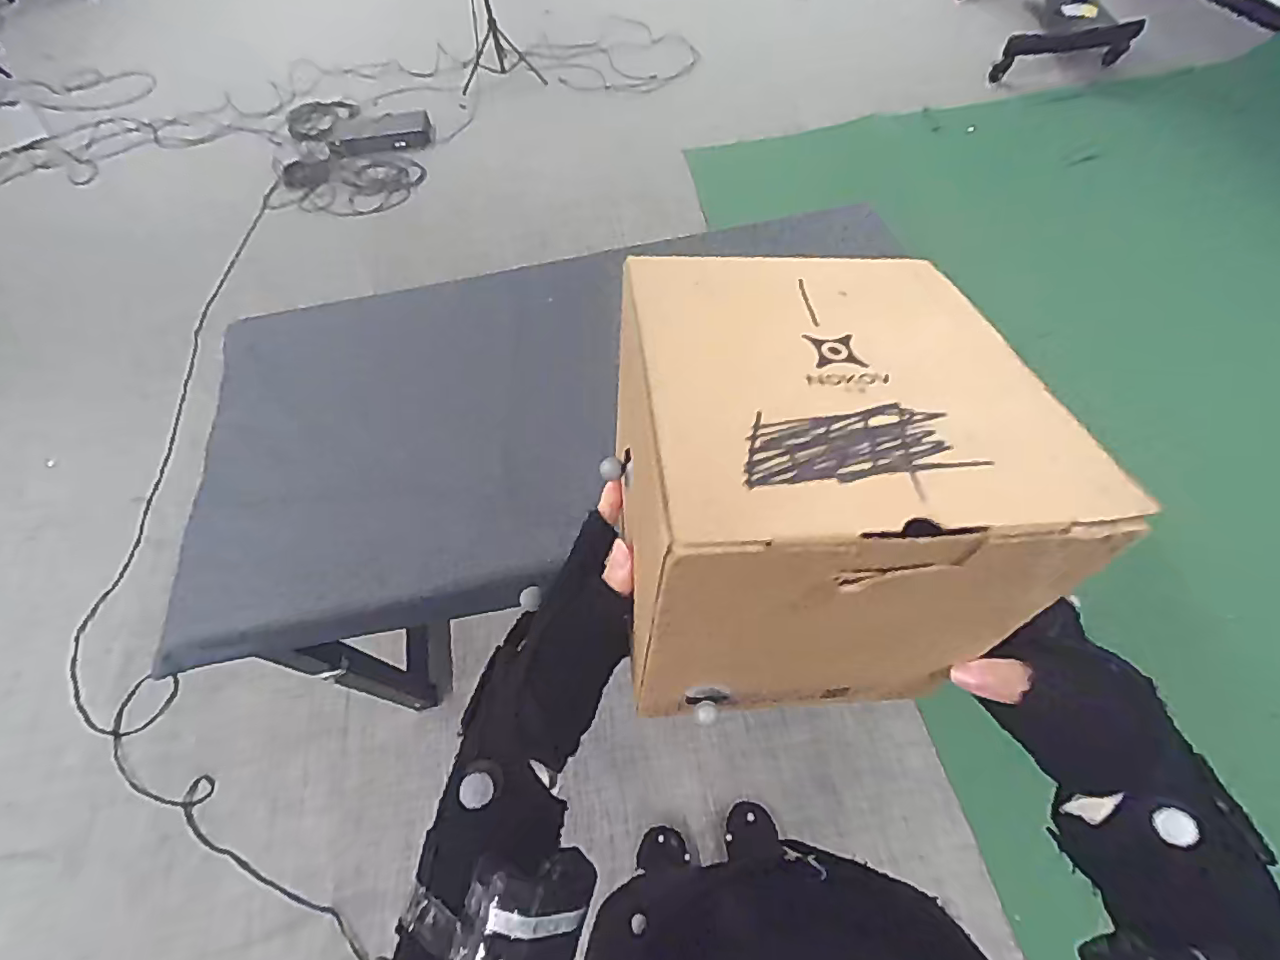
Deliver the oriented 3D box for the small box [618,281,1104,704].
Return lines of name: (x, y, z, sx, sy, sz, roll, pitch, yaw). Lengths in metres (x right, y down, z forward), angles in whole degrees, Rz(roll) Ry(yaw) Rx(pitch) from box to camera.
small box: (0.075, 0.013, 0.298, 0.168, 0.176, 0.179, -1, 50, -6)
